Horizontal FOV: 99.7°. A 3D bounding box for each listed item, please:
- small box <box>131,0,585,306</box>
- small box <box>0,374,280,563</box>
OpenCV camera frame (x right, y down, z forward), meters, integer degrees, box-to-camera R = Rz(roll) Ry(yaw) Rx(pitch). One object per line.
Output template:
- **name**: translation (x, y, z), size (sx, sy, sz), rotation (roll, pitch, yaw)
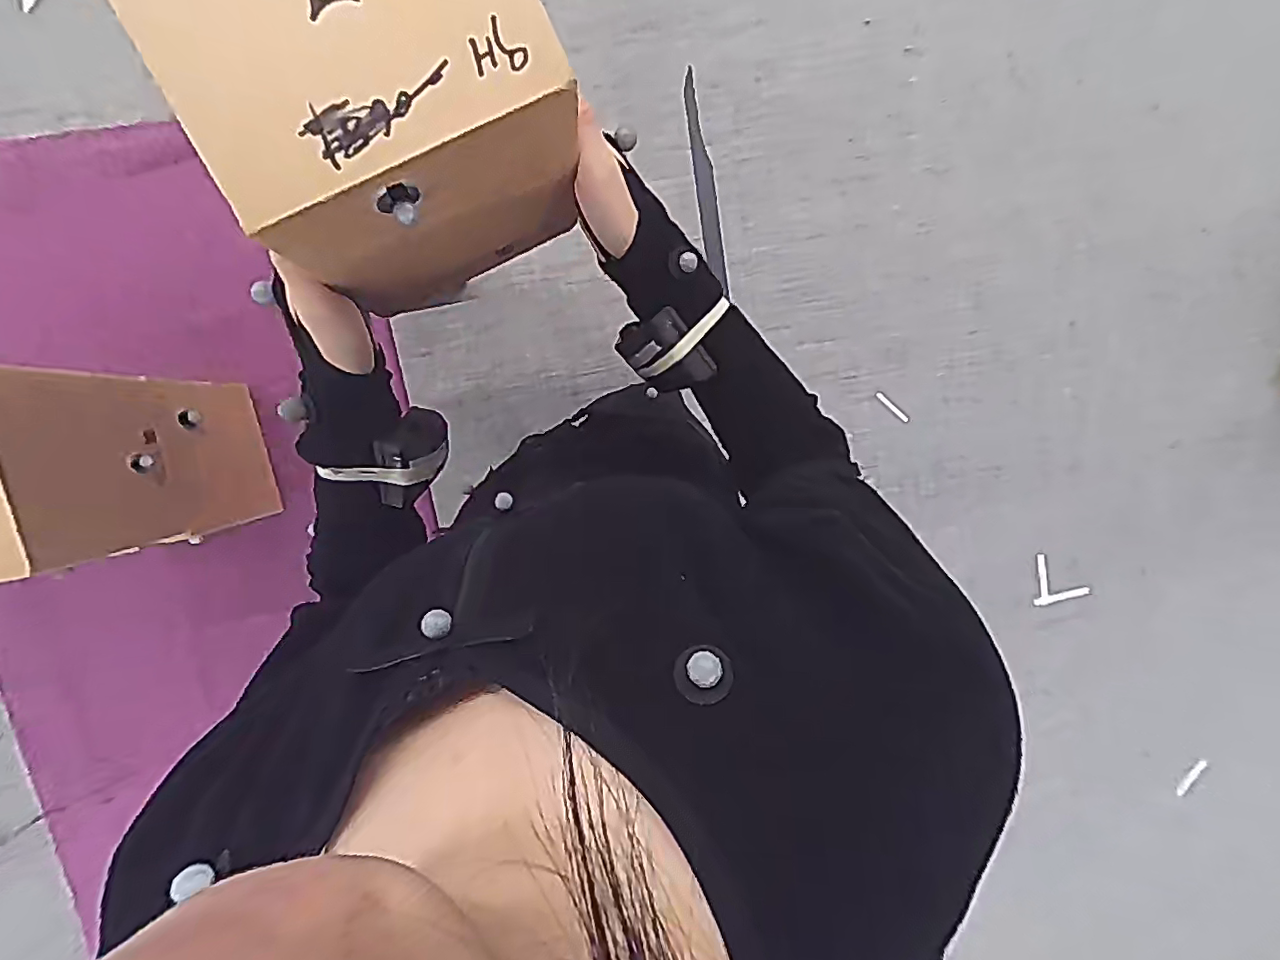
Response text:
- **small box**: translation (-0.143, -0.230, 0.312), size (0.168, 0.176, 0.179), rotation (-27, 96, -3)
- **small box**: translation (-0.577, -0.020, 0.644), size (0.168, 0.176, 0.179), rotation (-12, 98, -1)
